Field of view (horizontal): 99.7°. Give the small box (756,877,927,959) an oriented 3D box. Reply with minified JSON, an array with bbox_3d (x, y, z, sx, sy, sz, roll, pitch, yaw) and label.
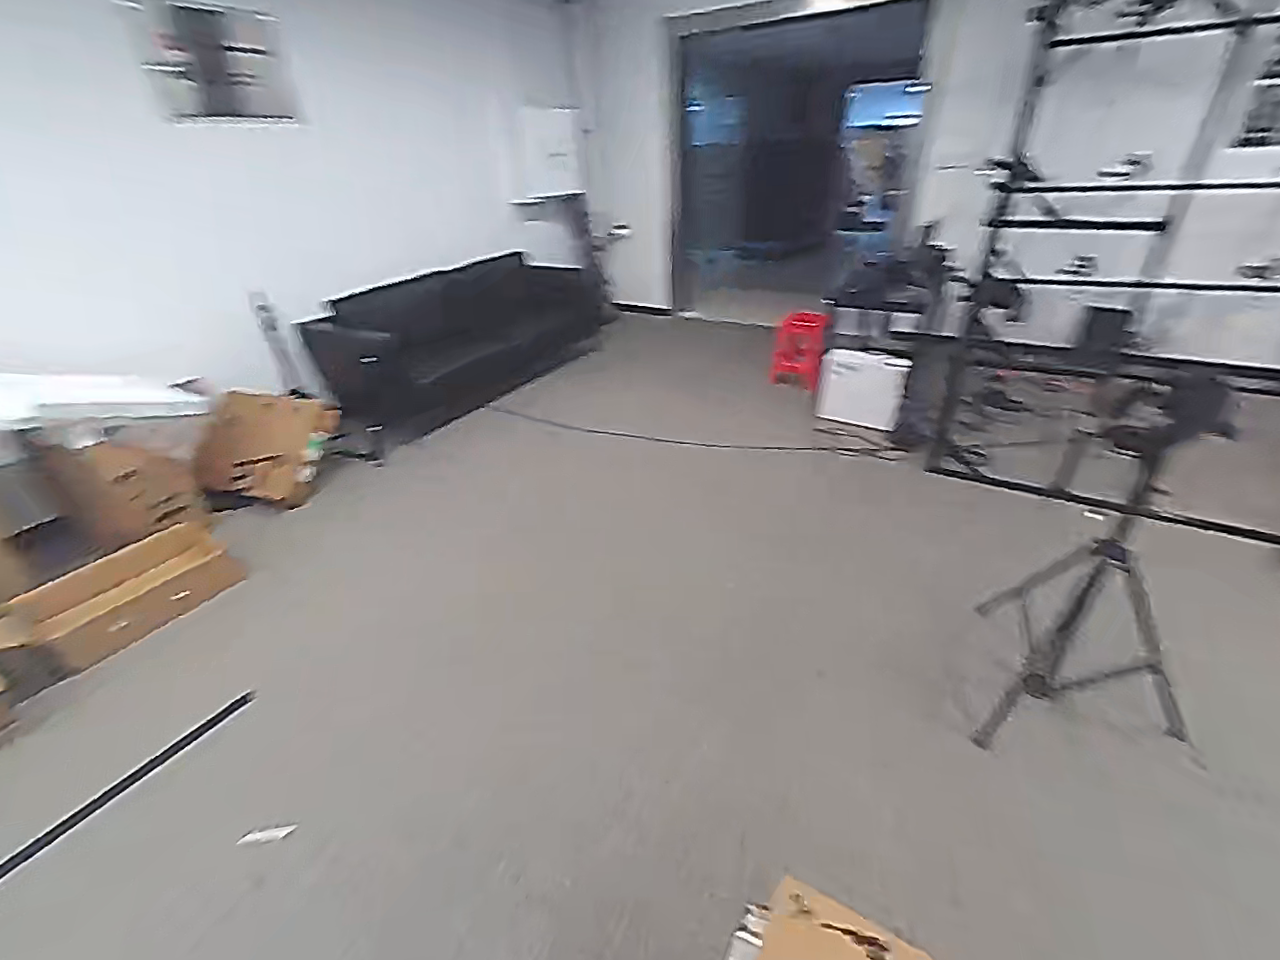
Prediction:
[{"bbox_3d":[0.198,0.583,0.566,0.168,0.176,0.179,15,39,29],"label":"small box"}]
